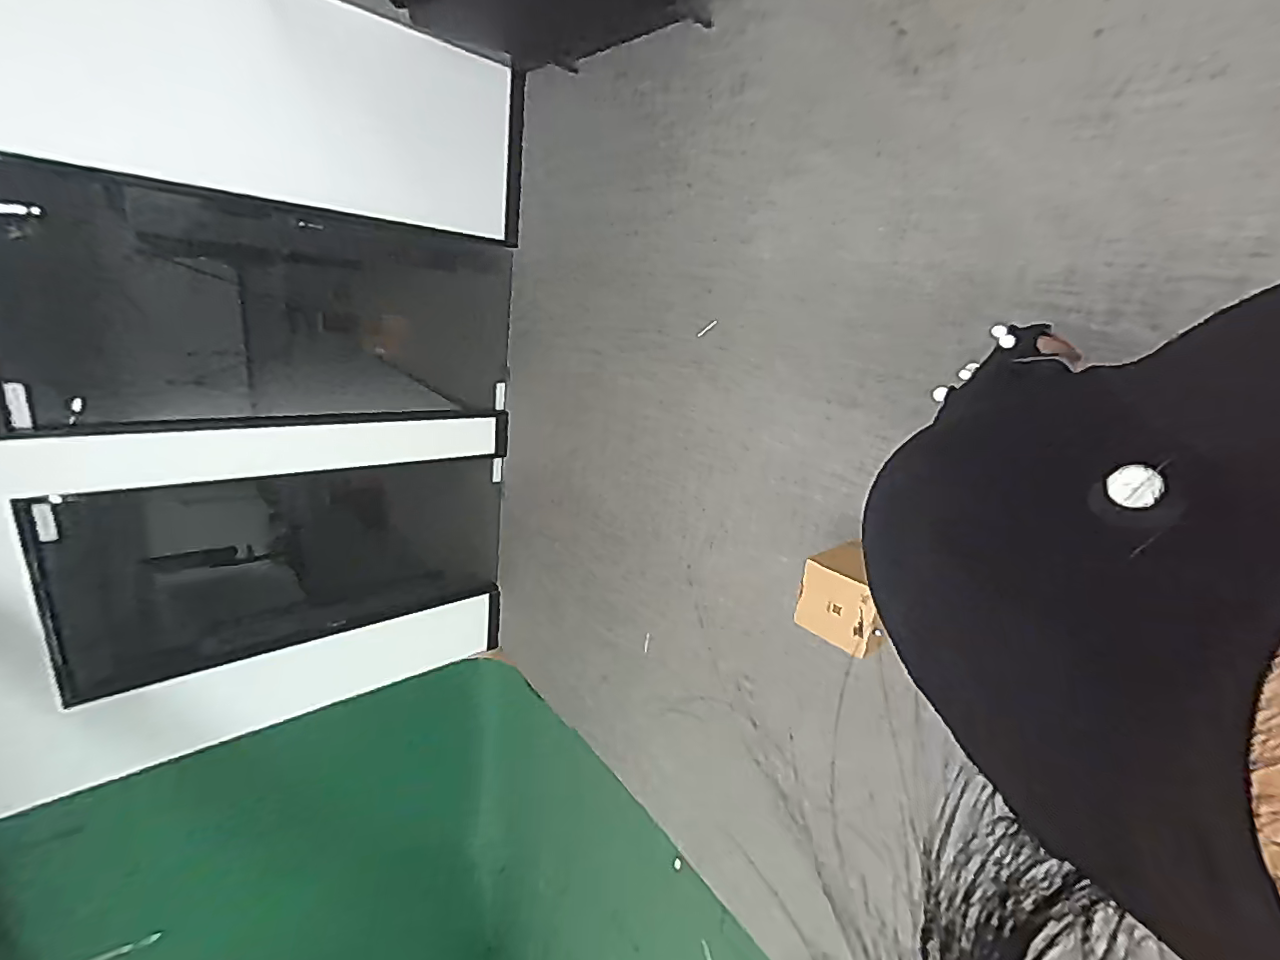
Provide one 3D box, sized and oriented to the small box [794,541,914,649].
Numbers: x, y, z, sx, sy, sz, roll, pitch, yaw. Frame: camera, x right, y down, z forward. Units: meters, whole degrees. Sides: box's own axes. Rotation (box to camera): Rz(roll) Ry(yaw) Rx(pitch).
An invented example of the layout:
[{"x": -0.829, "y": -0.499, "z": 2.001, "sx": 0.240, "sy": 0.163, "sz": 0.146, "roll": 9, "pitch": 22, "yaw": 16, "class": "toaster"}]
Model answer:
[{"x": 0.486, "y": 0.249, "z": 1.231, "sx": 0.179, "sy": 0.176, "sz": 0.168, "roll": 26, "pitch": 116, "yaw": 45, "class": "small box"}]
